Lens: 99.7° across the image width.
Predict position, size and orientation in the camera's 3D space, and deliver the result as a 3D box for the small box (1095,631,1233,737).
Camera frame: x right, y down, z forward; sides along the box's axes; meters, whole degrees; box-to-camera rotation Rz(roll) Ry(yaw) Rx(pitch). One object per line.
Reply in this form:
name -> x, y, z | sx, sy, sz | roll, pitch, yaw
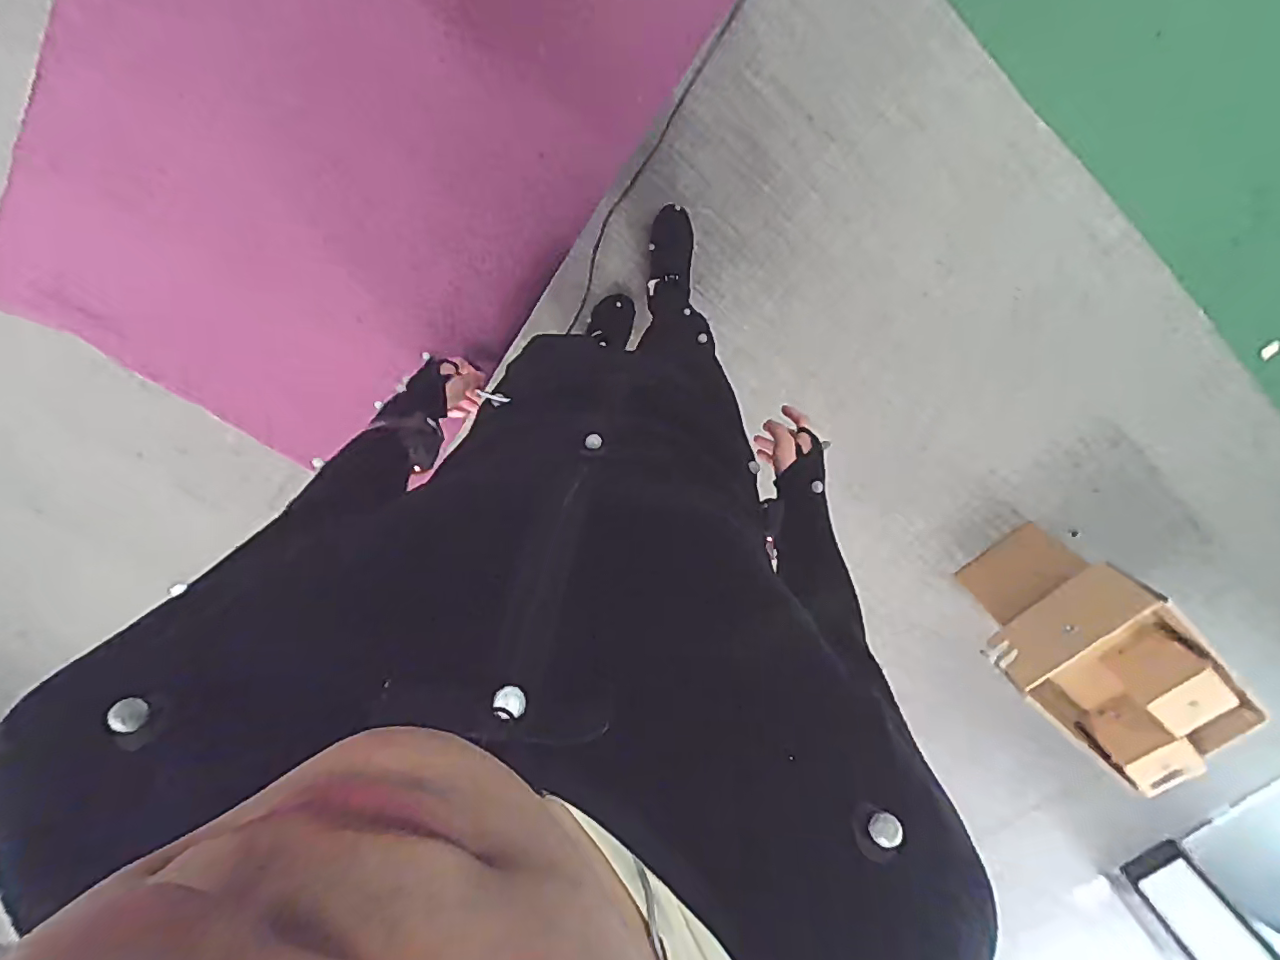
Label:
small box -> 1.374, 0.529, 1.431 | 0.179, 0.176, 0.168 | 39, 108, -17
